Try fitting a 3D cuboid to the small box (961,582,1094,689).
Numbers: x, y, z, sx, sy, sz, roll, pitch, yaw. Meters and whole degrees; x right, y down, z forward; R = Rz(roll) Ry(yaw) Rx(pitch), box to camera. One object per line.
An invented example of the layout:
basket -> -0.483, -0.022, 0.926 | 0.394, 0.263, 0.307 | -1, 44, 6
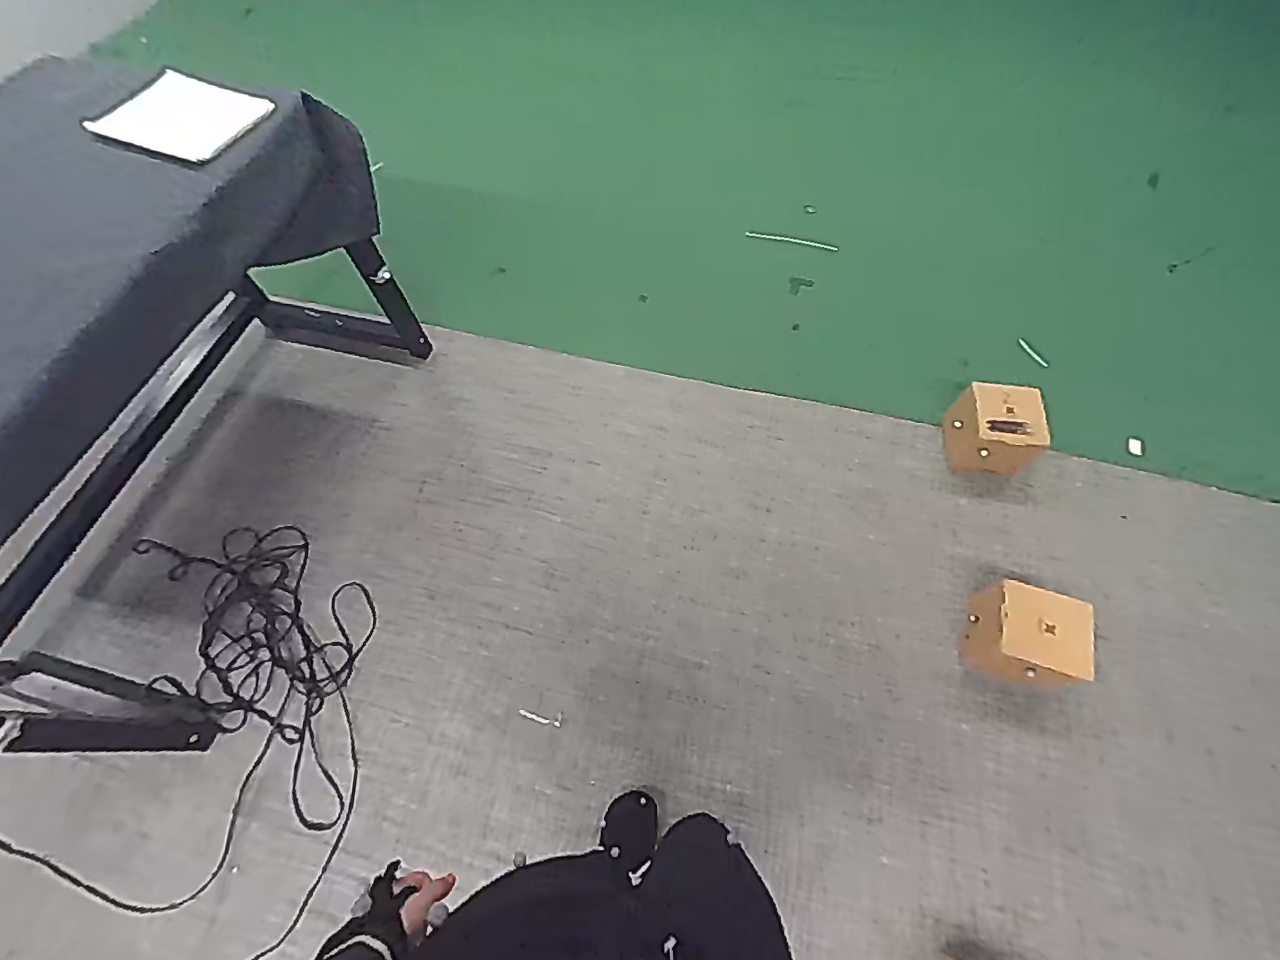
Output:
small box -> 0.840, 0.345, 1.181 | 0.179, 0.176, 0.168 | 16, 65, 11
